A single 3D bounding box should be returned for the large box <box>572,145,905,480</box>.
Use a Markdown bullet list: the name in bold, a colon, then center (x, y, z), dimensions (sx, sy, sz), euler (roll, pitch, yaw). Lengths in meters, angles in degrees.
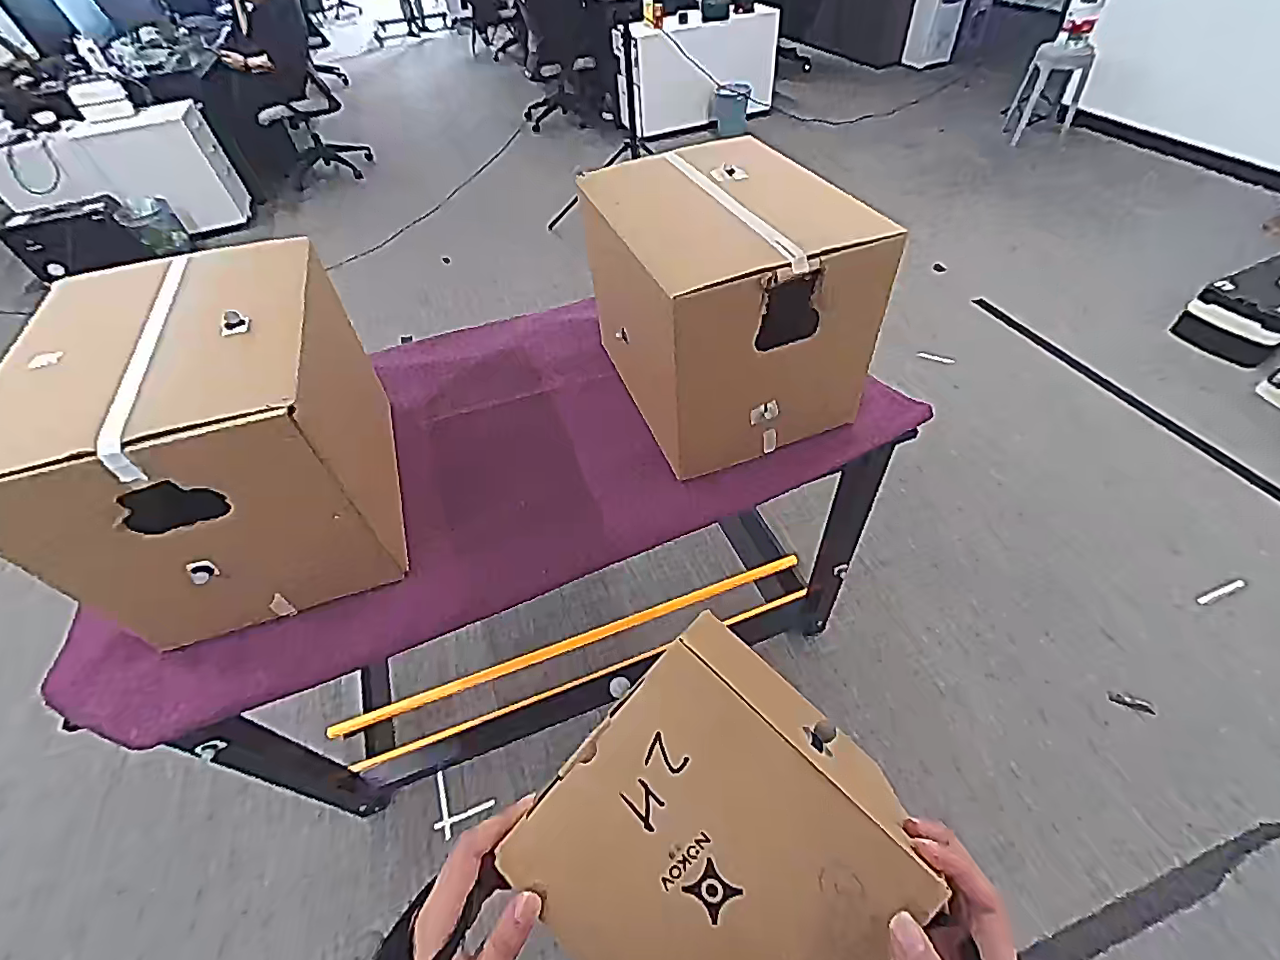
- **large box**: center (0.120, -0.273, 0.849), dimensions (0.320, 0.320, 0.408), euler (-18, 49, -11)
